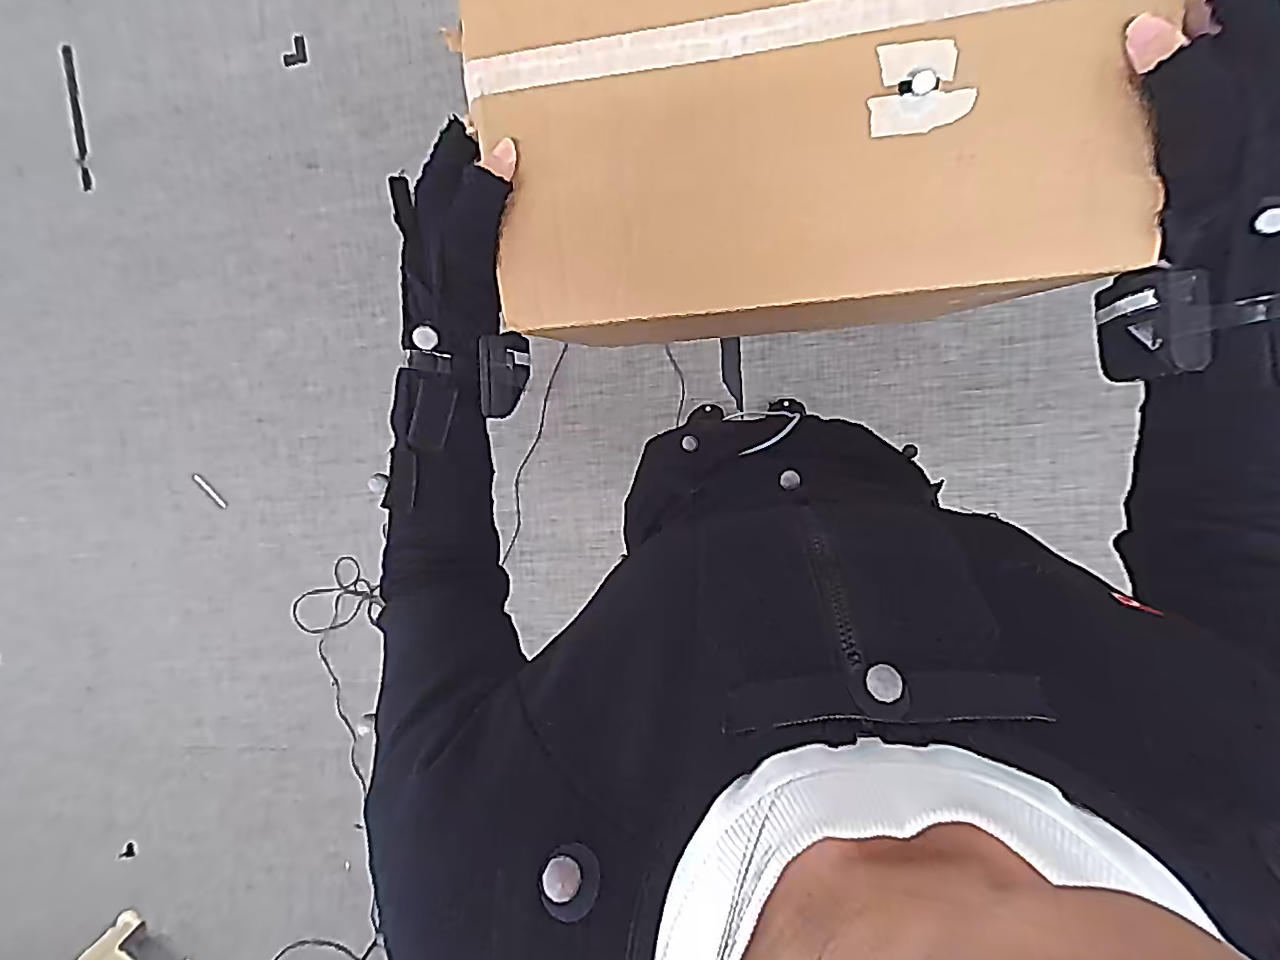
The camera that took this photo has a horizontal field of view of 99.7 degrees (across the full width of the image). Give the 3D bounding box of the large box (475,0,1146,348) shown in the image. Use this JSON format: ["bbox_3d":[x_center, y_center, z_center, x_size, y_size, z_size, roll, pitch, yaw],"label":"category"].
[{"bbox_3d":[0.108,-0.302,0.480,0.408,0.320,0.320,-4,101,7],"label":"large box"}]
